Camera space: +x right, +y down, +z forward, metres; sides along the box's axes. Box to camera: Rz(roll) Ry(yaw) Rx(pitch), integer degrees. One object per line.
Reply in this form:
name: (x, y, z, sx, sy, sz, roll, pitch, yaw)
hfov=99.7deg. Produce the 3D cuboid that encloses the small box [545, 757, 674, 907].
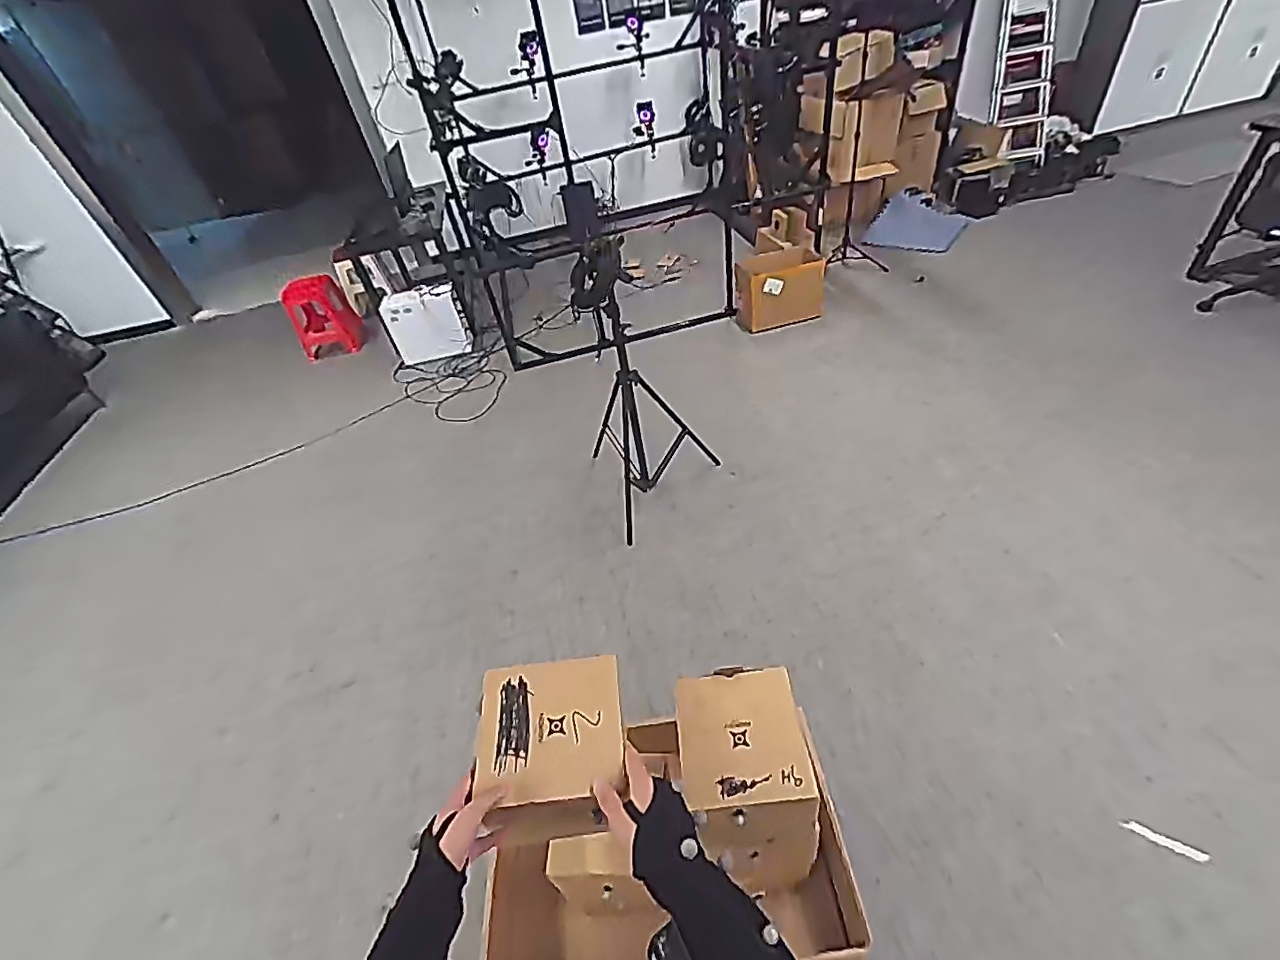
small box: (-0.037, 0.562, 0.865, 0.179, 0.176, 0.168, -4, 42, 6)

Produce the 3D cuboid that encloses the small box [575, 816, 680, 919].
small box: (-0.021, 0.674, 0.984, 0.179, 0.176, 0.168, -7, 41, 2)
